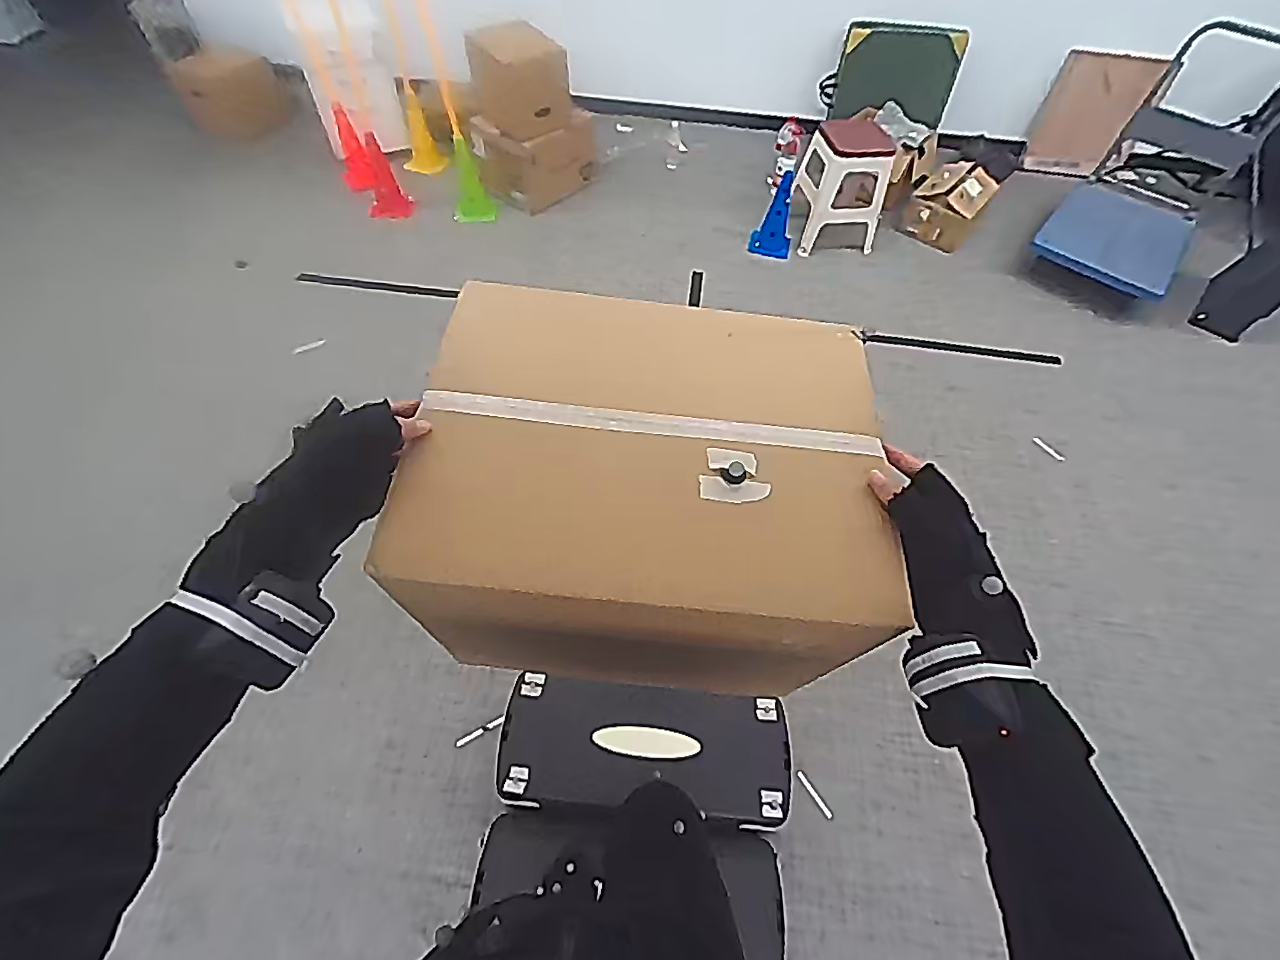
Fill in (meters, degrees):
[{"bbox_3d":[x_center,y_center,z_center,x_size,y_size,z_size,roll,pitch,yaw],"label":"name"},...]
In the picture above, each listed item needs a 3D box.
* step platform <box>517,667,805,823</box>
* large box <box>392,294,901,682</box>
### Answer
[{"bbox_3d":[0.049,0.645,1.326,0.684,0.204,0.286,6,56,-1],"label":"step platform"},{"bbox_3d":[0.004,0.031,0.615,0.408,0.320,0.320,6,60,-2],"label":"large box"}]
